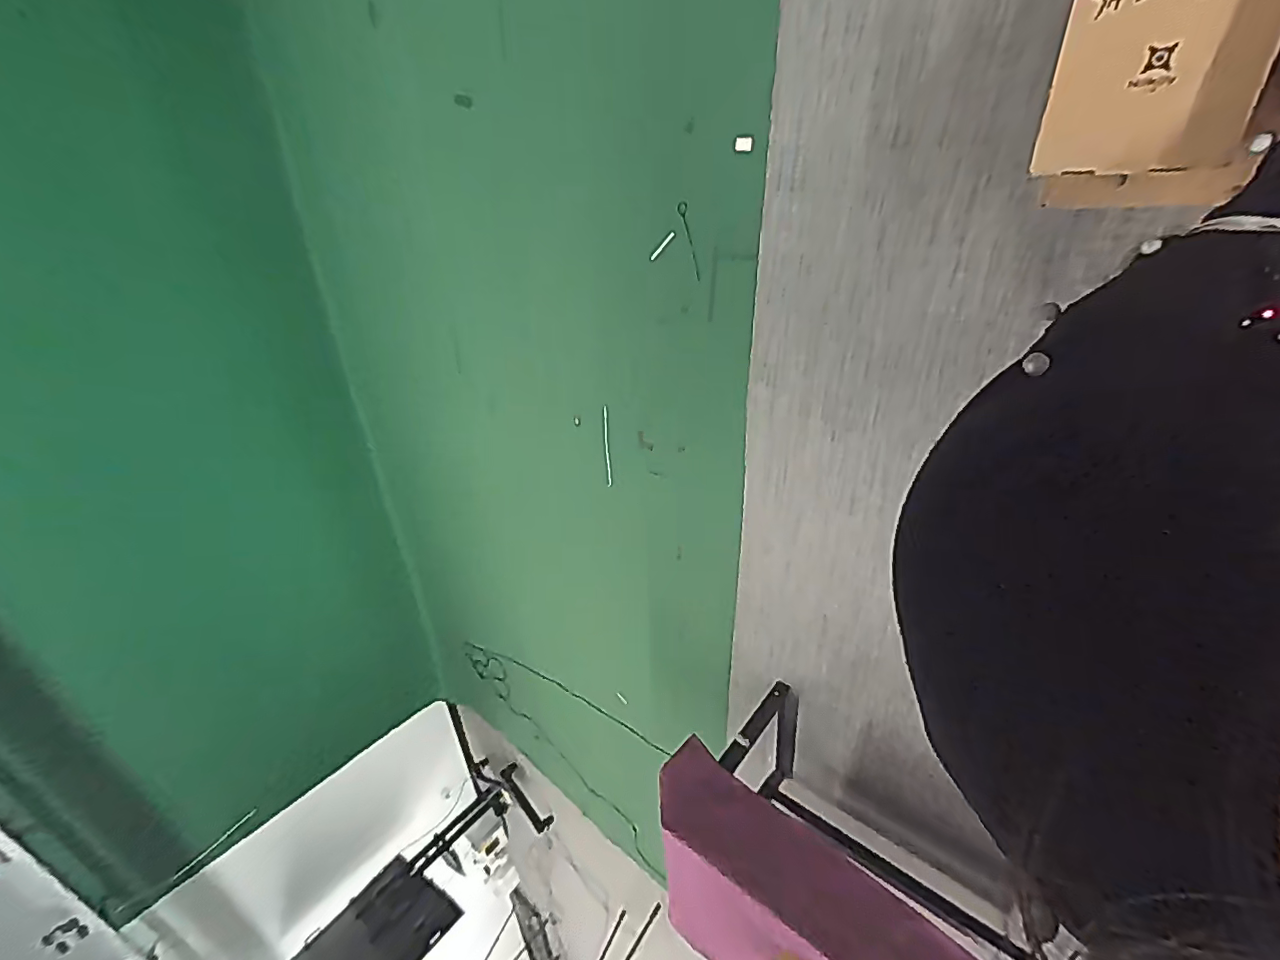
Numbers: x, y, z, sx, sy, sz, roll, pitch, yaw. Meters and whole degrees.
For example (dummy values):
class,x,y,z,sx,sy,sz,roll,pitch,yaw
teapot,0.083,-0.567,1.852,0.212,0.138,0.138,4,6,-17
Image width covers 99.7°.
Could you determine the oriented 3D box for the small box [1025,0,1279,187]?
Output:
class,x,y,z,sx,sy,sz,roll,pitch,yaw
small box,0.551,-0.423,0.584,0.168,0.176,0.179,20,128,34
